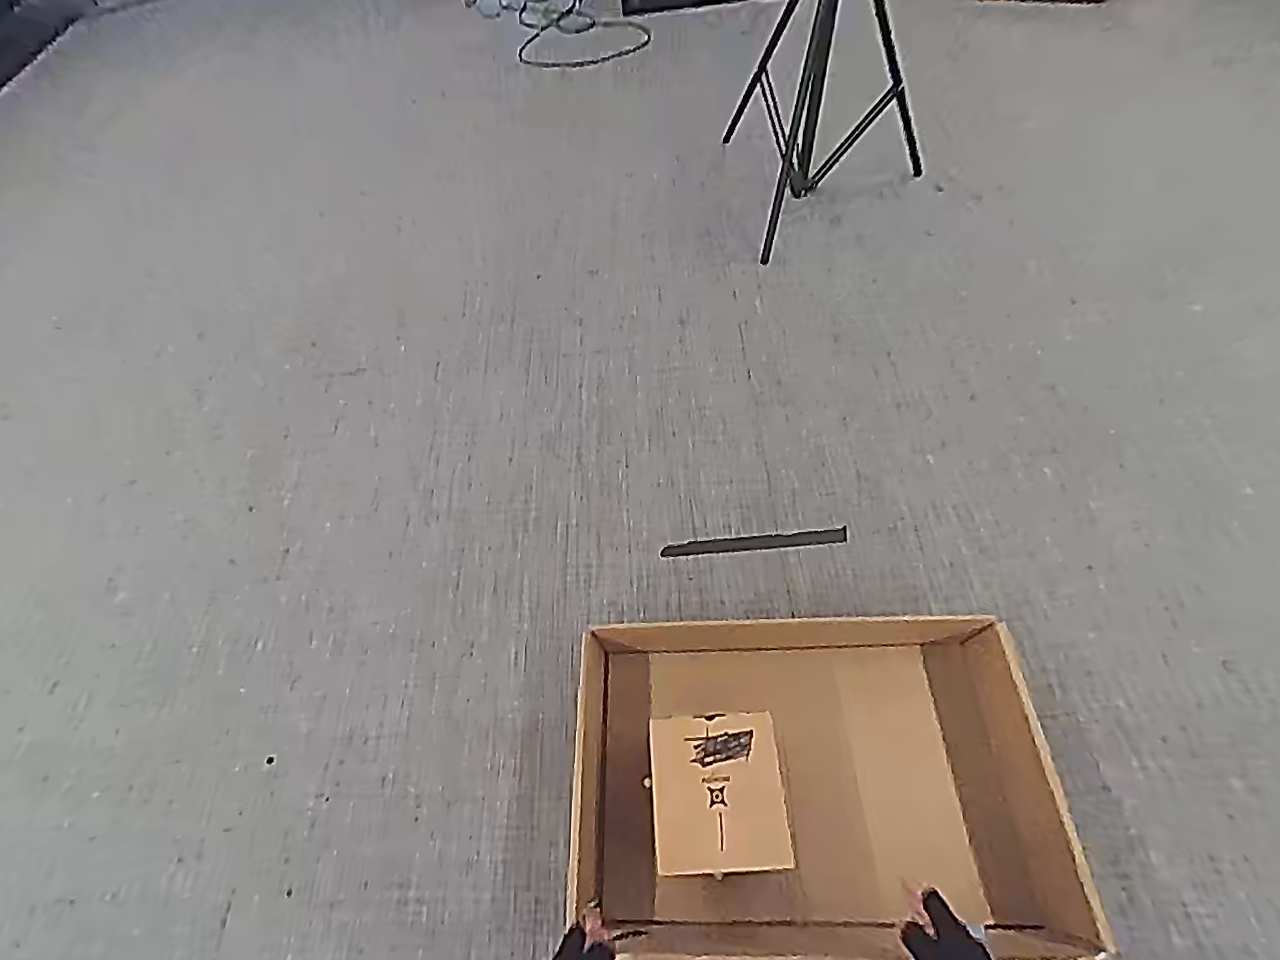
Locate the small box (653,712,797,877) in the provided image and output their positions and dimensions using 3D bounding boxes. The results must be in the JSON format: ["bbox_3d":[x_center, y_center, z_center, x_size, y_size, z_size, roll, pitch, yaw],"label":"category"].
[{"bbox_3d":[0.106,0.431,0.749,0.168,0.176,0.179,-5,60,2],"label":"small box"}]
